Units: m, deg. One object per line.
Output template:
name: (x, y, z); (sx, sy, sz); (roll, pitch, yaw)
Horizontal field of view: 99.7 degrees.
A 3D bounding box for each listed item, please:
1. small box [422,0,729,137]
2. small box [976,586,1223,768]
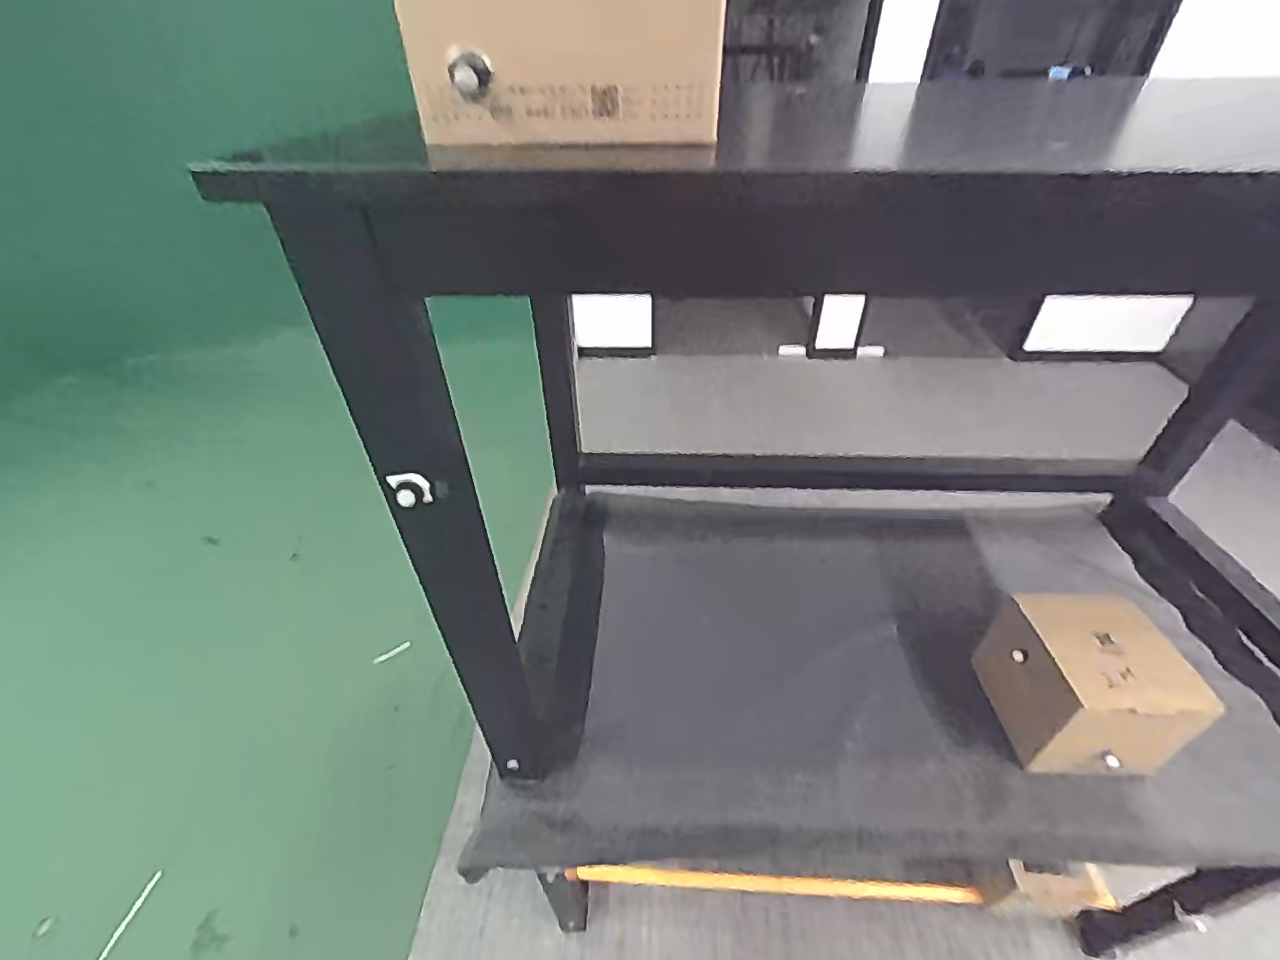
small box: (-0.033, -0.314, 0.328); (0.168, 0.176, 0.179); (1, 38, 1)
small box: (0.609, 0.270, 0.752); (0.168, 0.176, 0.179); (0, 38, 3)
